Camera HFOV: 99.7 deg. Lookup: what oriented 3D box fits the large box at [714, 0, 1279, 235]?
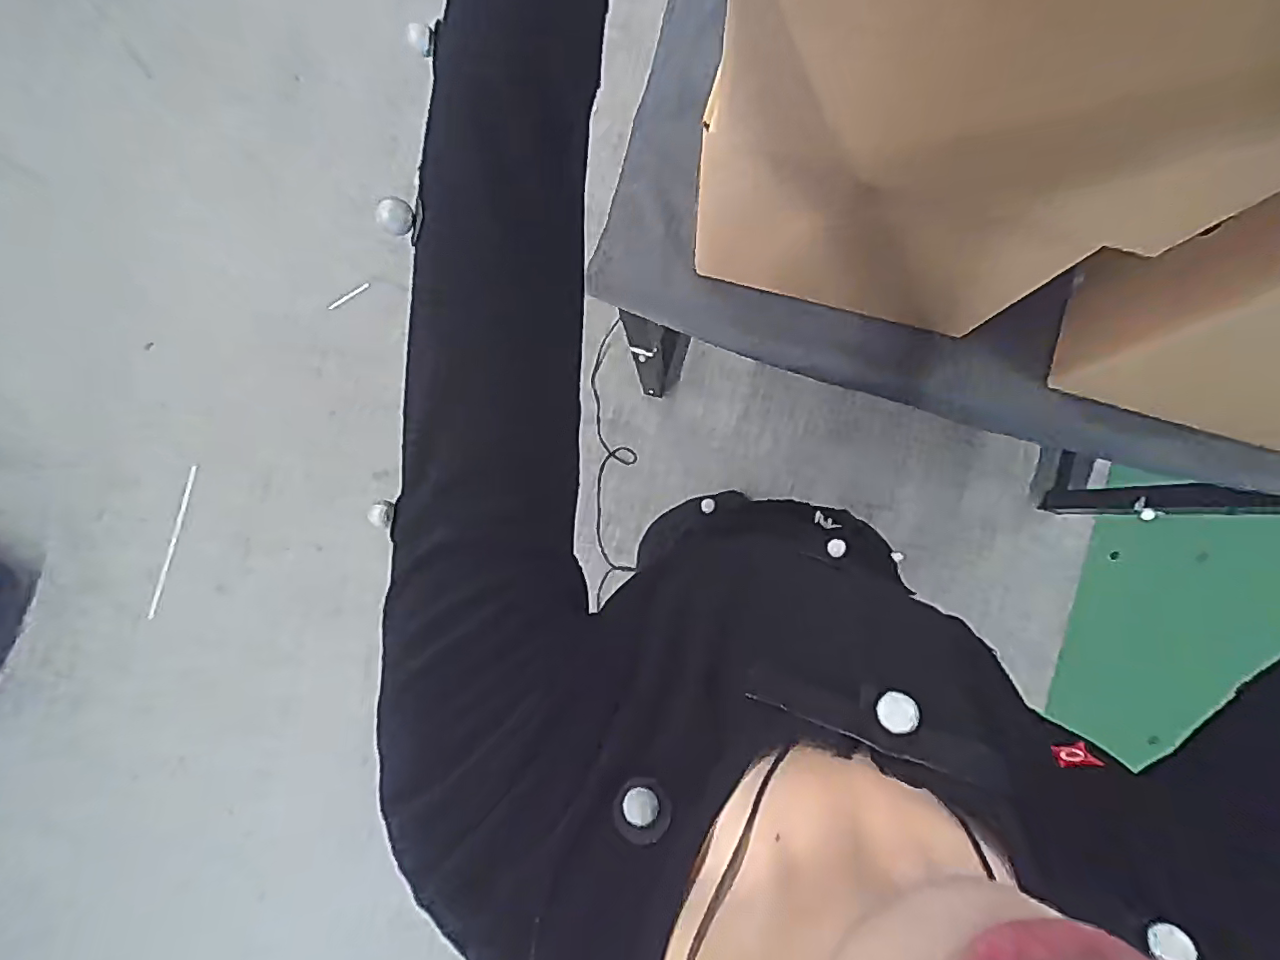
[{"bbox_3d":[0.289,-0.418,0.350,0.408,0.320,0.320,17,90,3],"label":"large box"}]
